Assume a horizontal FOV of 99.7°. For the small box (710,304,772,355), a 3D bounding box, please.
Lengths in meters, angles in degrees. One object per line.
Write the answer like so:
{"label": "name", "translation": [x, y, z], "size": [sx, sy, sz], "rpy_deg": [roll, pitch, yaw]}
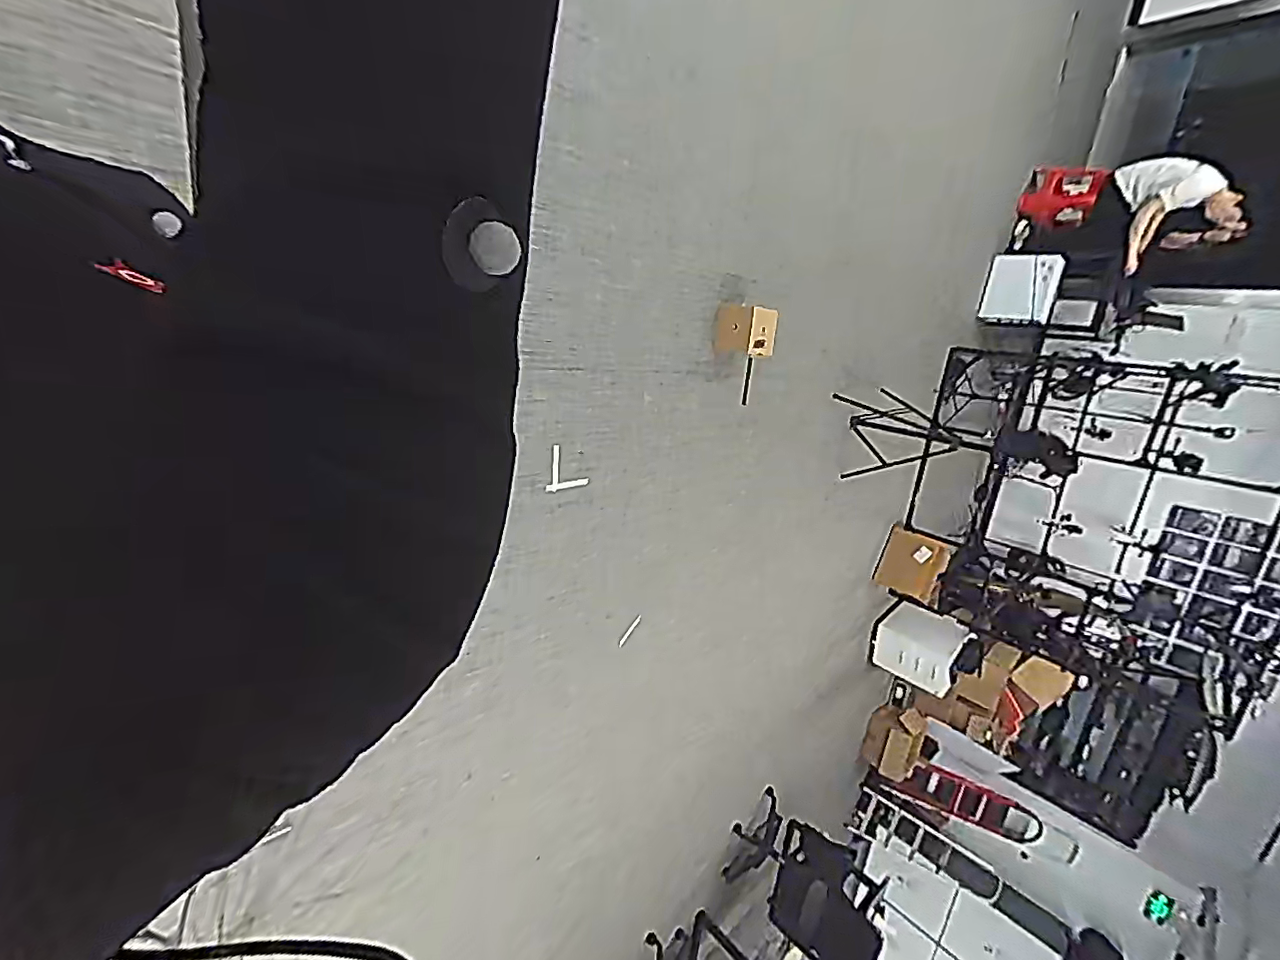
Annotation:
{"label": "small box", "translation": [0.394, -0.595, 2.135], "size": [0.168, 0.176, 0.179], "rpy_deg": [-8, 110, -43]}
